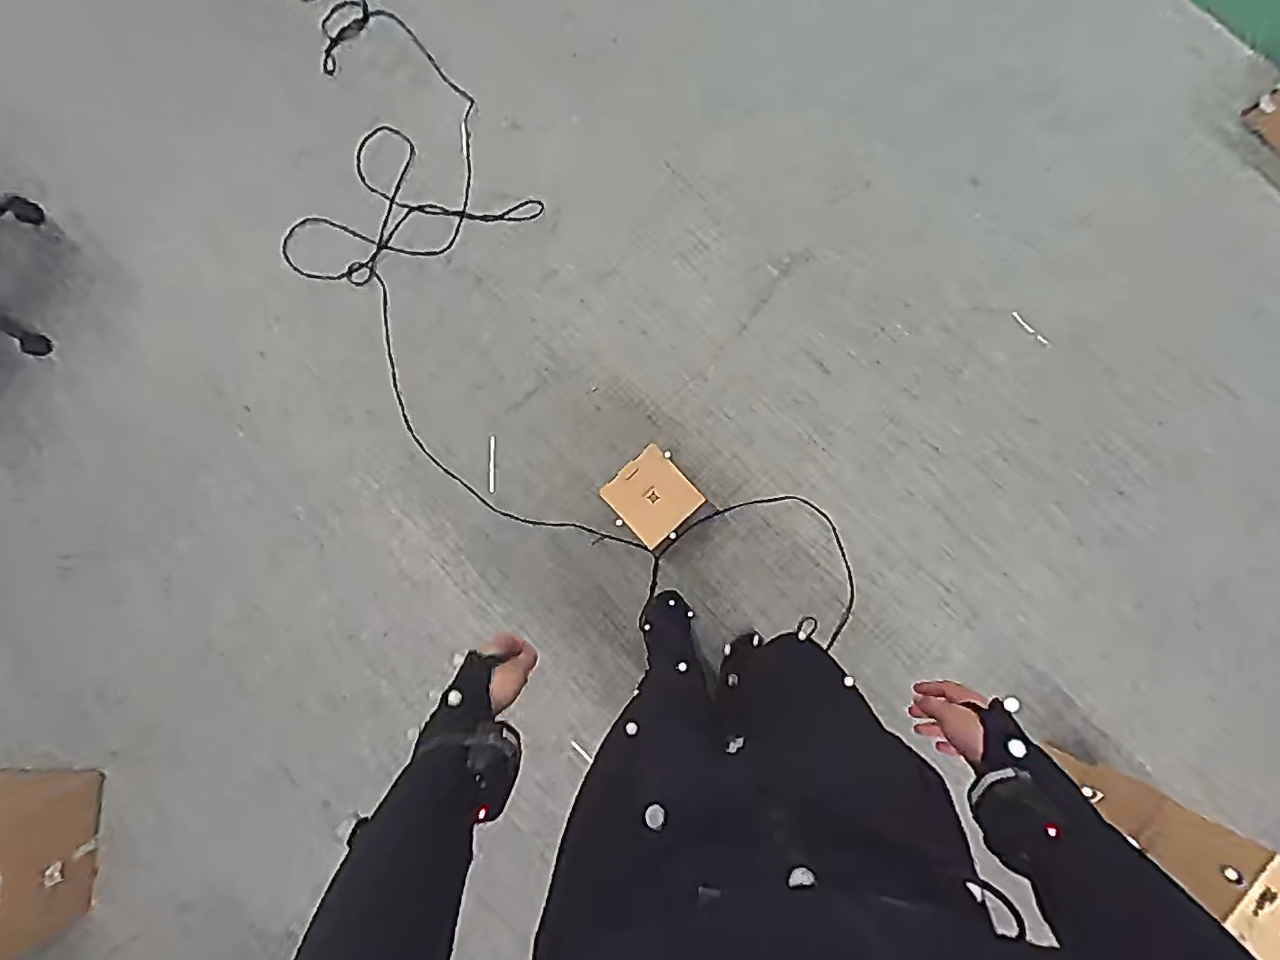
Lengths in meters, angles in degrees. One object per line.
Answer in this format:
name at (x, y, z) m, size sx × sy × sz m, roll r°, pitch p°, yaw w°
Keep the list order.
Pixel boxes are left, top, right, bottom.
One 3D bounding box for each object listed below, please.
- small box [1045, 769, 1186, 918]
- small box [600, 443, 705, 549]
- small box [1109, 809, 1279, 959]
small box at (0.930, 0.688, 1.012) m, size 0.179 × 0.176 × 0.168 m, roll 44°, pitch 86°, yaw 6°
small box at (0.030, 0.040, 1.259) m, size 0.168 × 0.176 × 0.179 m, roll -42°, pitch 84°, yaw -4°
small box at (0.917, 0.671, 0.849) m, size 0.179 × 0.176 × 0.168 m, roll 44°, pitch 86°, yaw 5°
